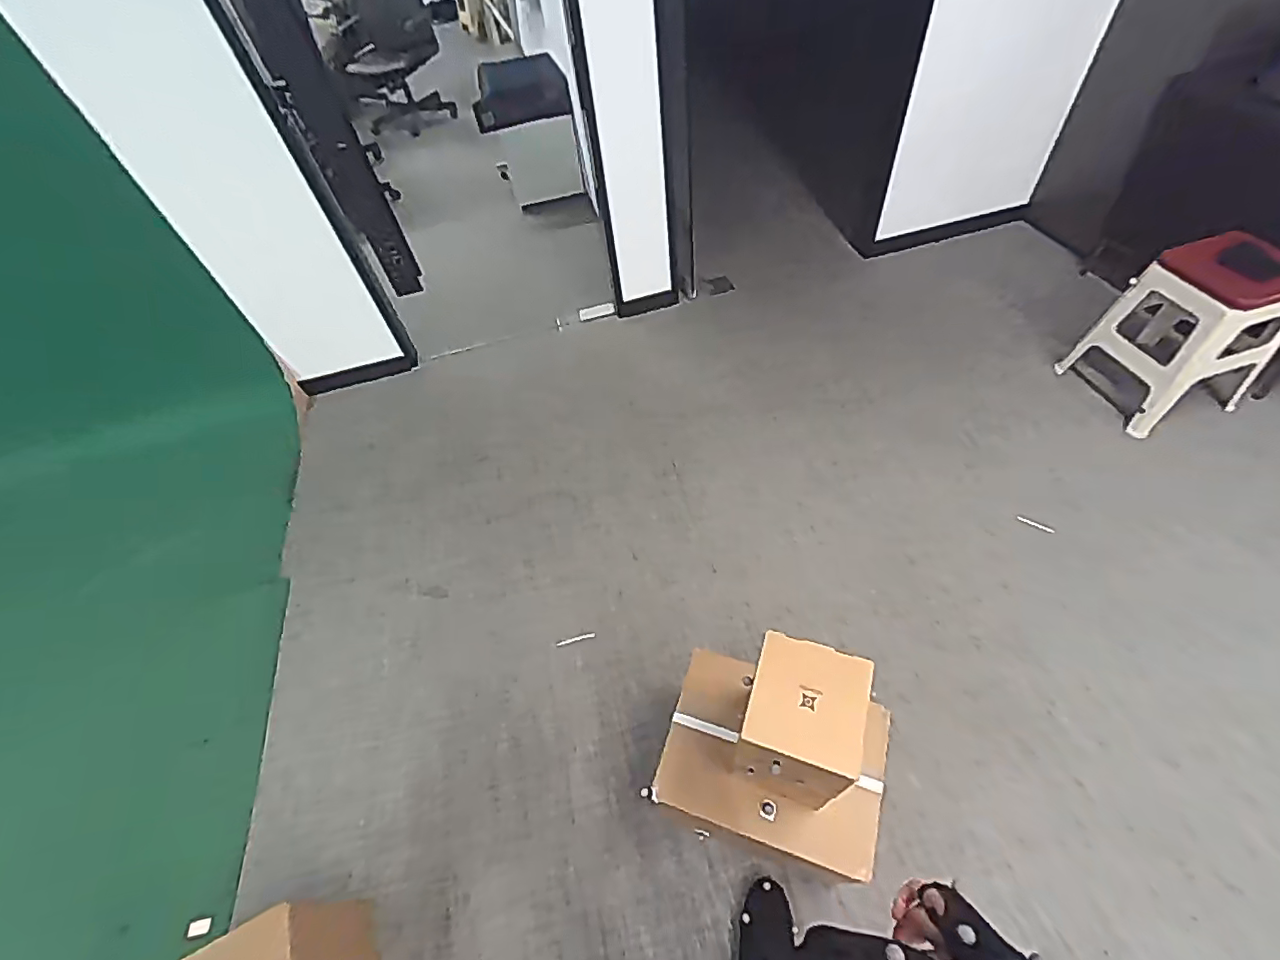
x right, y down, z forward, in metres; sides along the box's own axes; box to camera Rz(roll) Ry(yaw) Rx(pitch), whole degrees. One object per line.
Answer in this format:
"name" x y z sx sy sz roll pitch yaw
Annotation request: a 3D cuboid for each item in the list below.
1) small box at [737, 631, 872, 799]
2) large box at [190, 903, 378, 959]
"small box" 0.253 0.373 0.852 0.168 0.176 0.179 13 53 17
"large box" -0.725 1.046 0.970 0.408 0.320 0.320 -26 52 -12
